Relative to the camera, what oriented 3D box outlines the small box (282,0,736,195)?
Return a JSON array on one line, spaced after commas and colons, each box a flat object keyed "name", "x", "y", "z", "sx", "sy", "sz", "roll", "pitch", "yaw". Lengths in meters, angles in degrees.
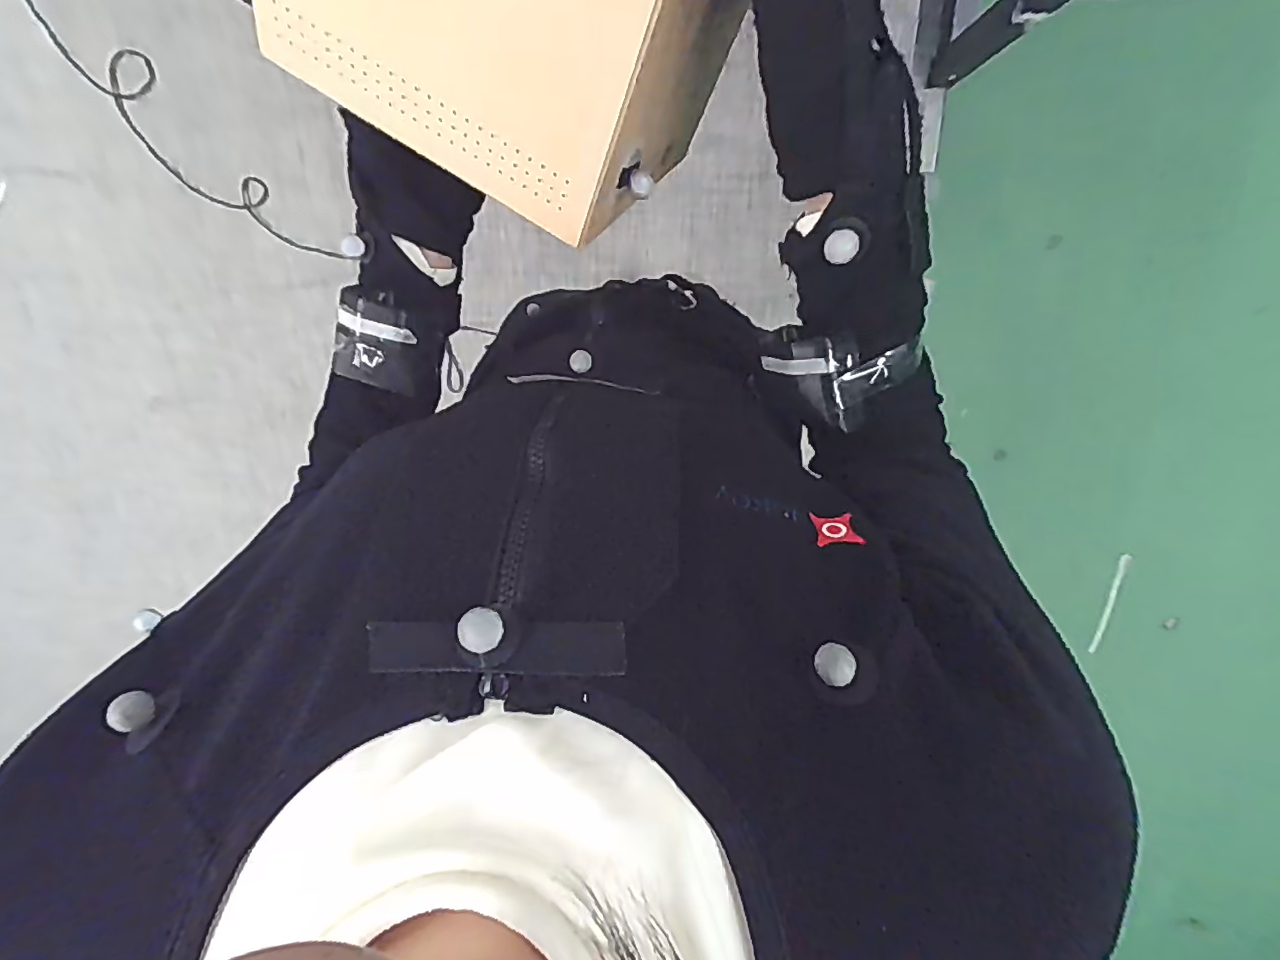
[{"name": "small box", "x": -0.045, "y": -0.265, "z": 0.256, "sx": 0.179, "sy": 0.168, "sz": 0.176, "roll": 31, "pitch": 140, "yaw": -2}]
